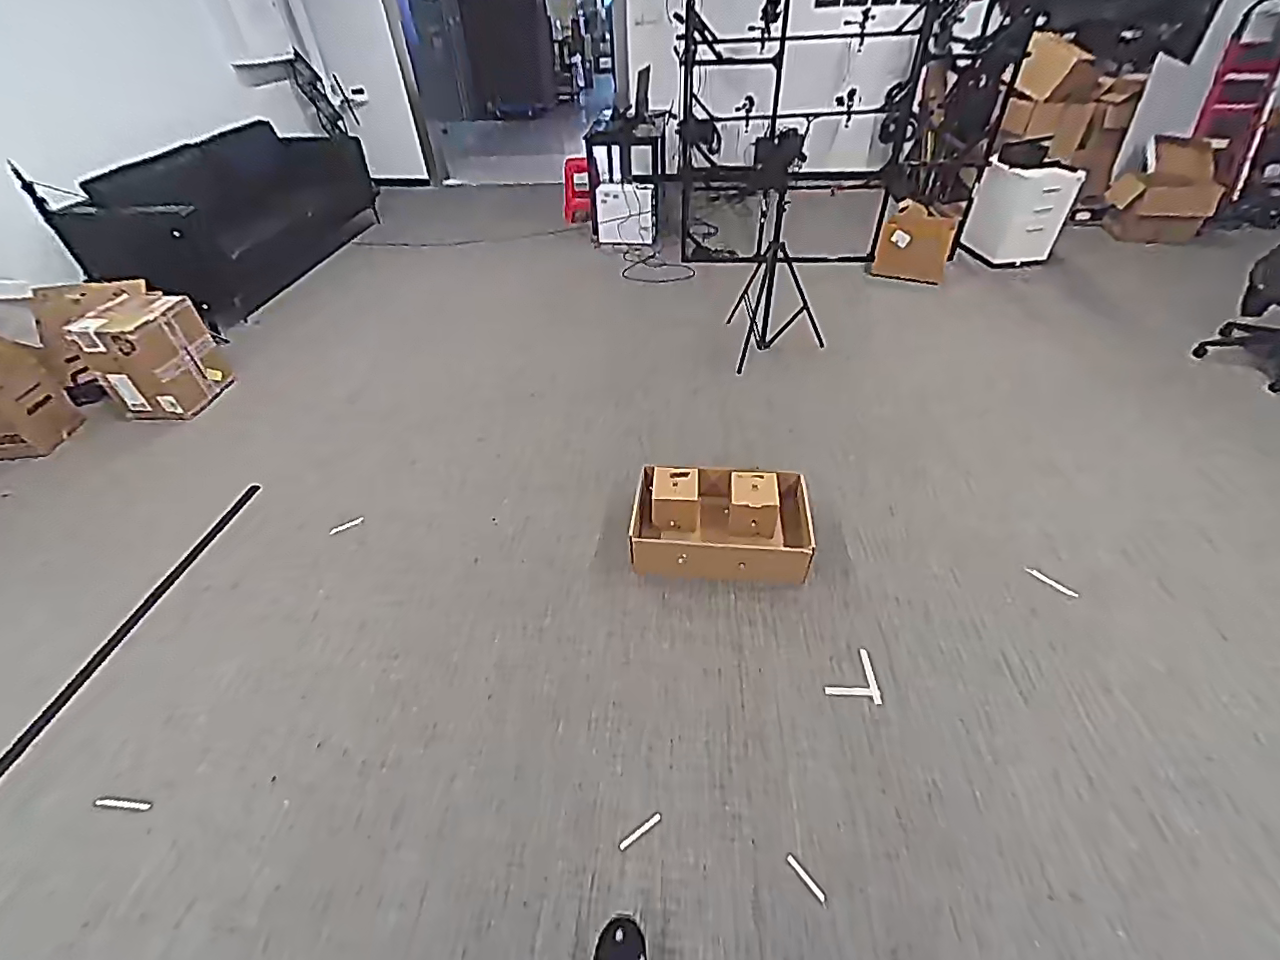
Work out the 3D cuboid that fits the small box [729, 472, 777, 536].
[{"bbox_3d":[0.415,0.089,1.995,0.168,0.176,0.179,2,43,9],"label":"small box"}]
